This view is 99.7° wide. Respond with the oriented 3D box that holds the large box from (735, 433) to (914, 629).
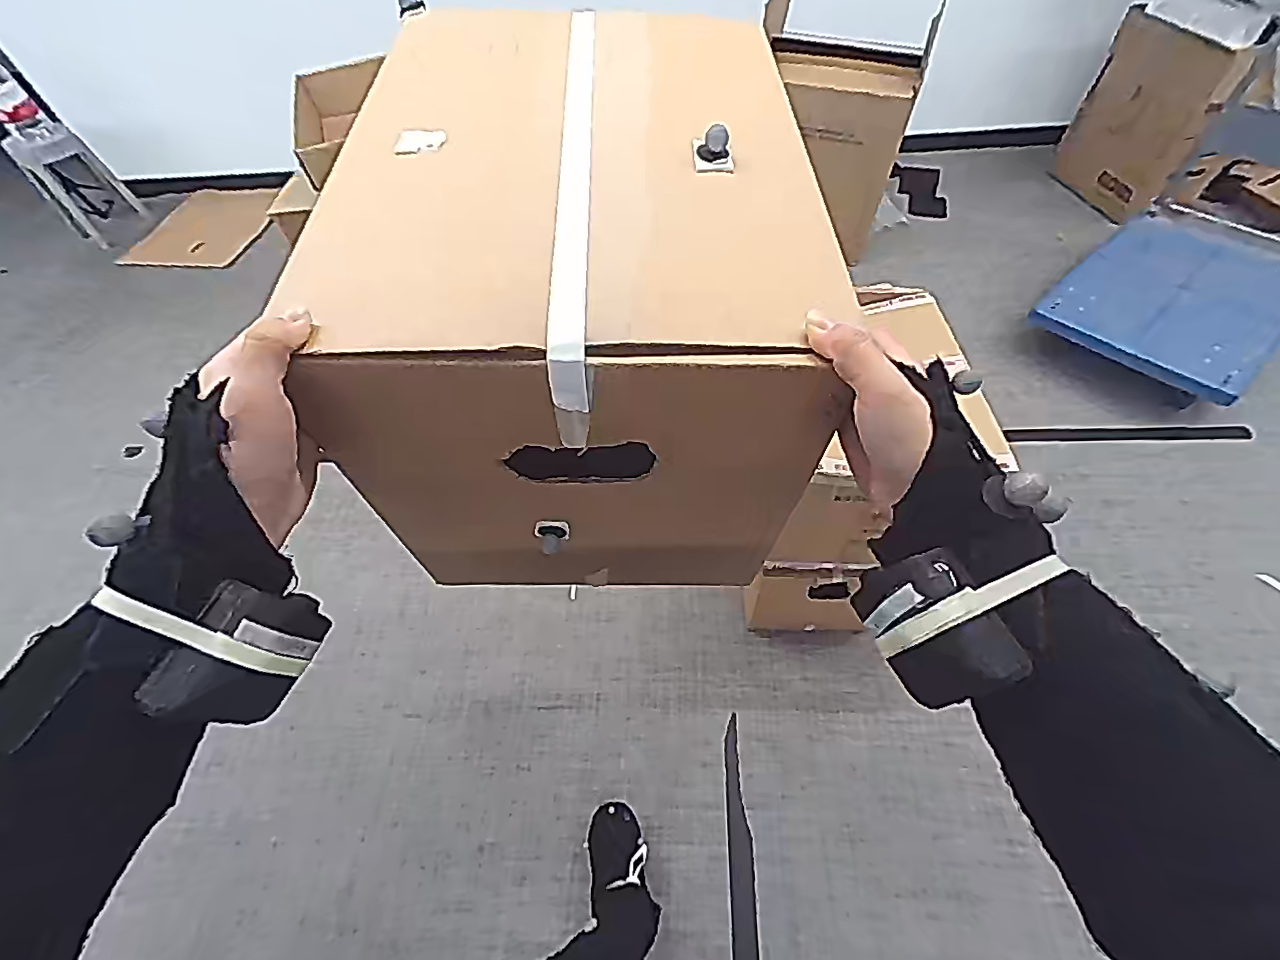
[{"bbox_3d":[0.426,0.131,1.367,0.320,0.320,0.408,-2,55,3],"label":"large box"}]
